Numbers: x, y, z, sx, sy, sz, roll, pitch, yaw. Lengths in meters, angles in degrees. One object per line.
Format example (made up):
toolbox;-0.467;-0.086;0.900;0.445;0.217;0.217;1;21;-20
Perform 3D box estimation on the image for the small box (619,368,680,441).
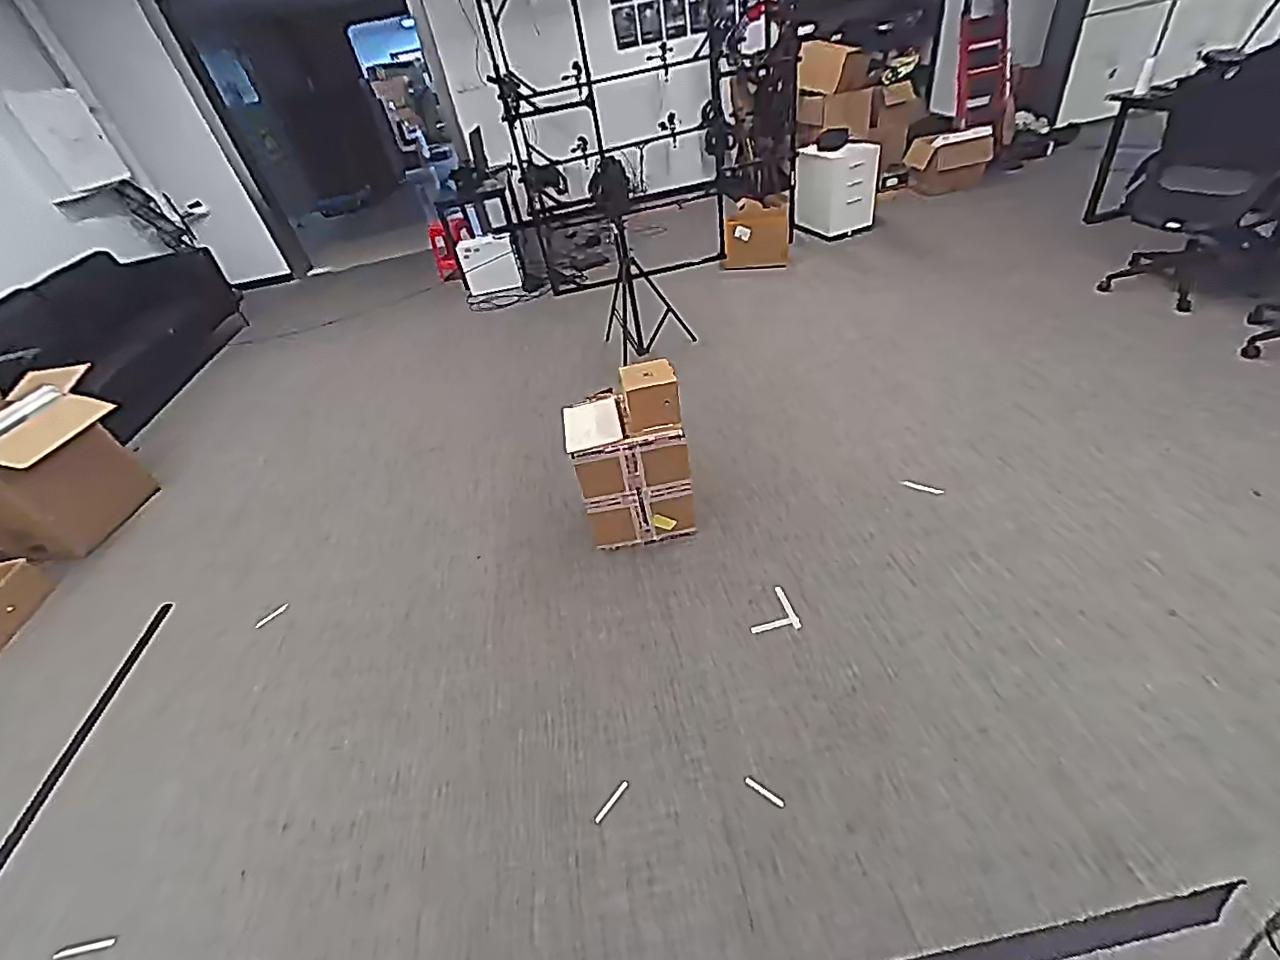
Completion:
small box;0.035;-0.257;1.848;0.179;0.176;0.168;-13;40;-3
